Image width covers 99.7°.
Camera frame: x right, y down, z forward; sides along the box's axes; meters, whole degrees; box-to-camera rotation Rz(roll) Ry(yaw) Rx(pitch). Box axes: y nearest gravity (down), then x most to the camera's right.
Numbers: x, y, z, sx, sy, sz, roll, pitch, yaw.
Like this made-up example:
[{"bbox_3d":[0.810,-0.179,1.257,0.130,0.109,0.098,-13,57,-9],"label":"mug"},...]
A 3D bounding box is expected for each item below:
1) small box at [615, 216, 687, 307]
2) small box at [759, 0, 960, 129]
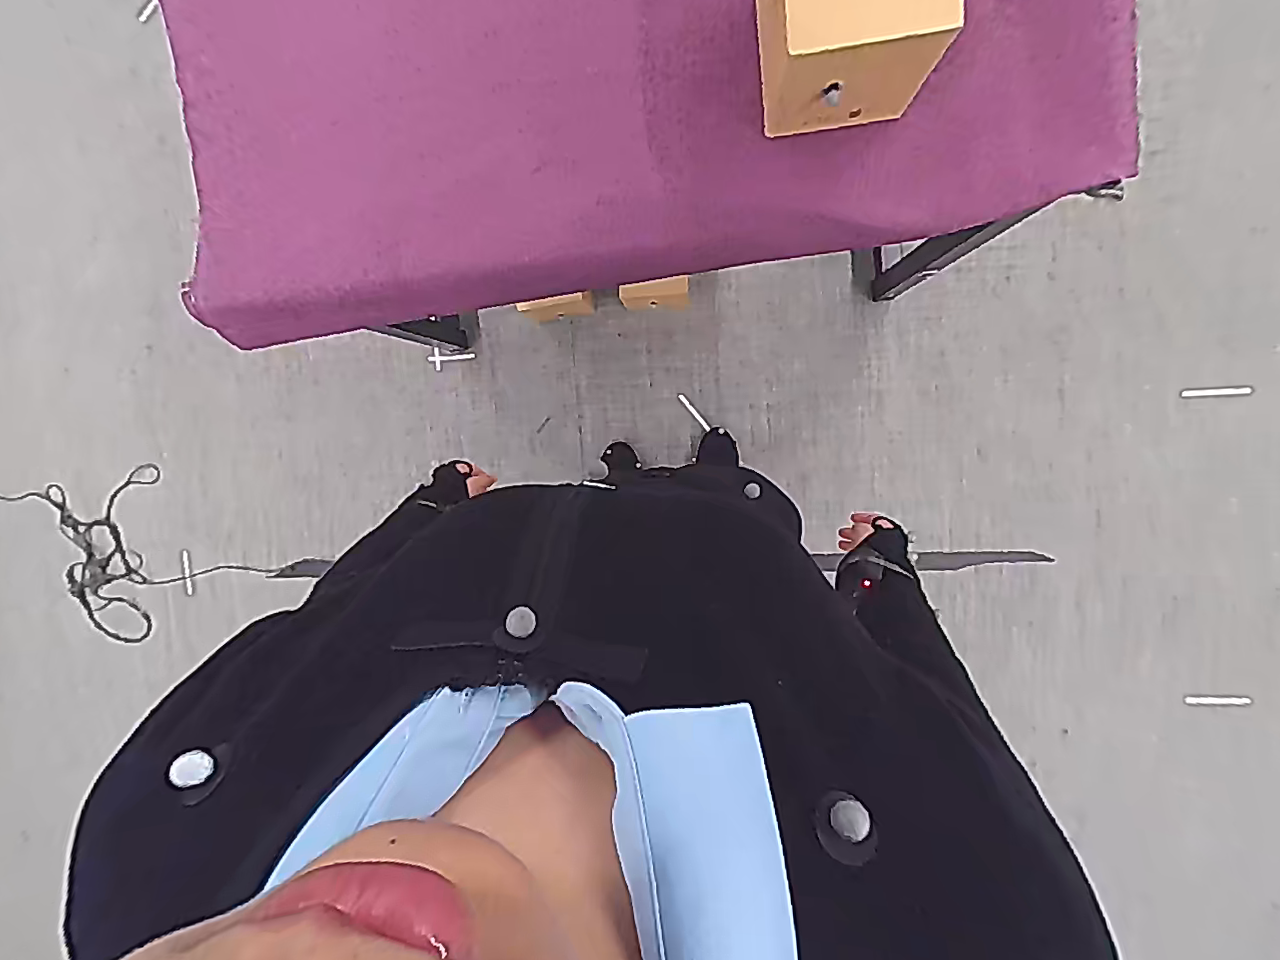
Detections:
[{"bbox_3d":[0.033,-0.535,1.350,0.168,0.176,0.179,-2,96,5],"label":"small box"},{"bbox_3d":[0.227,-0.520,0.596,0.168,0.176,0.179,-5,96,6],"label":"small box"}]
